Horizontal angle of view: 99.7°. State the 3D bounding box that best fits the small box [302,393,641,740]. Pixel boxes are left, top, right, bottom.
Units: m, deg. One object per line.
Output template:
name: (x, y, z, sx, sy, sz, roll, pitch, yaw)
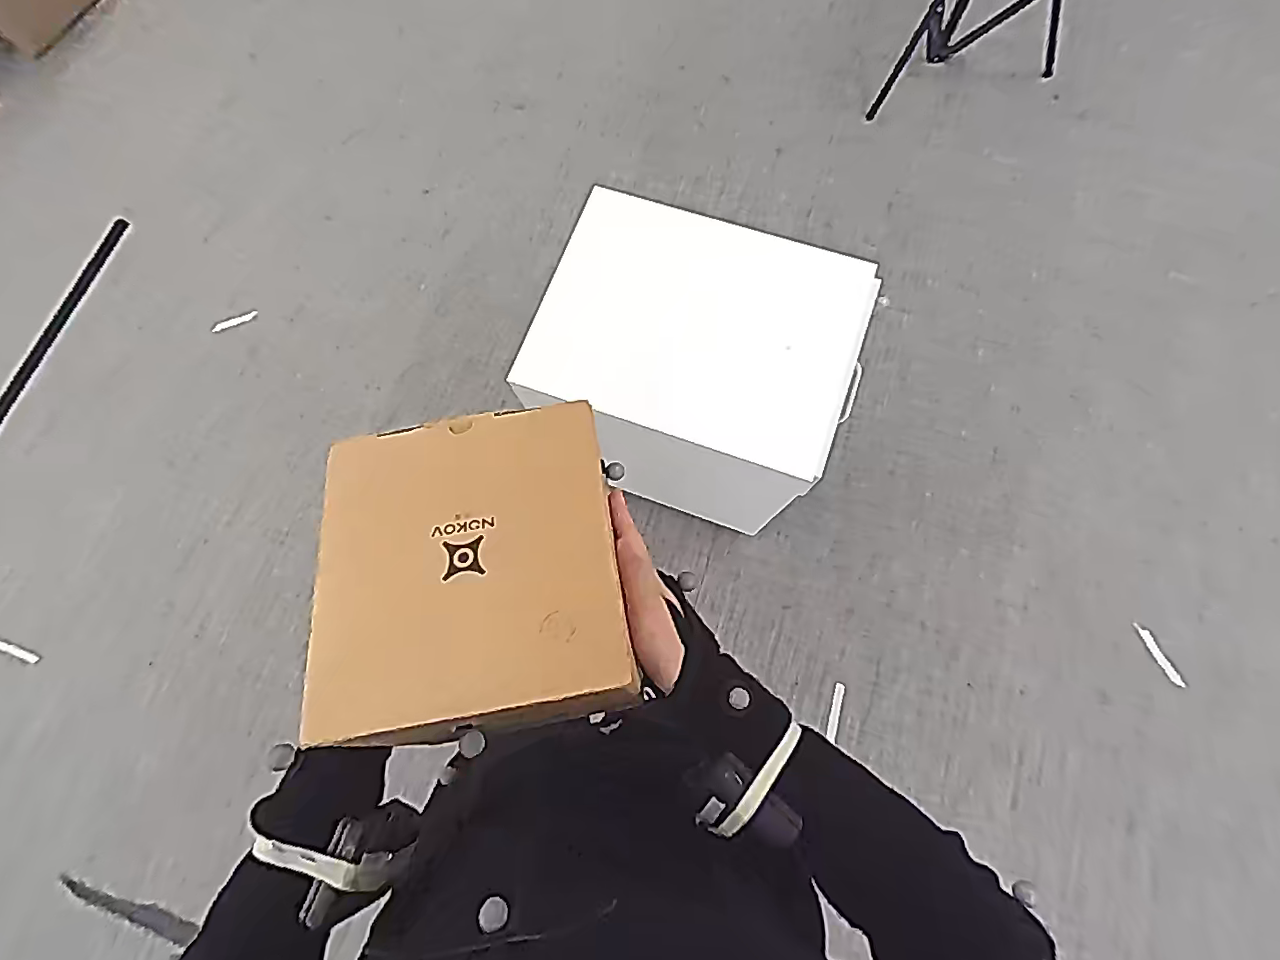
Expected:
small box: (-0.094, 0.070, 0.372, 0.168, 0.176, 0.179, -10, 63, -2)
